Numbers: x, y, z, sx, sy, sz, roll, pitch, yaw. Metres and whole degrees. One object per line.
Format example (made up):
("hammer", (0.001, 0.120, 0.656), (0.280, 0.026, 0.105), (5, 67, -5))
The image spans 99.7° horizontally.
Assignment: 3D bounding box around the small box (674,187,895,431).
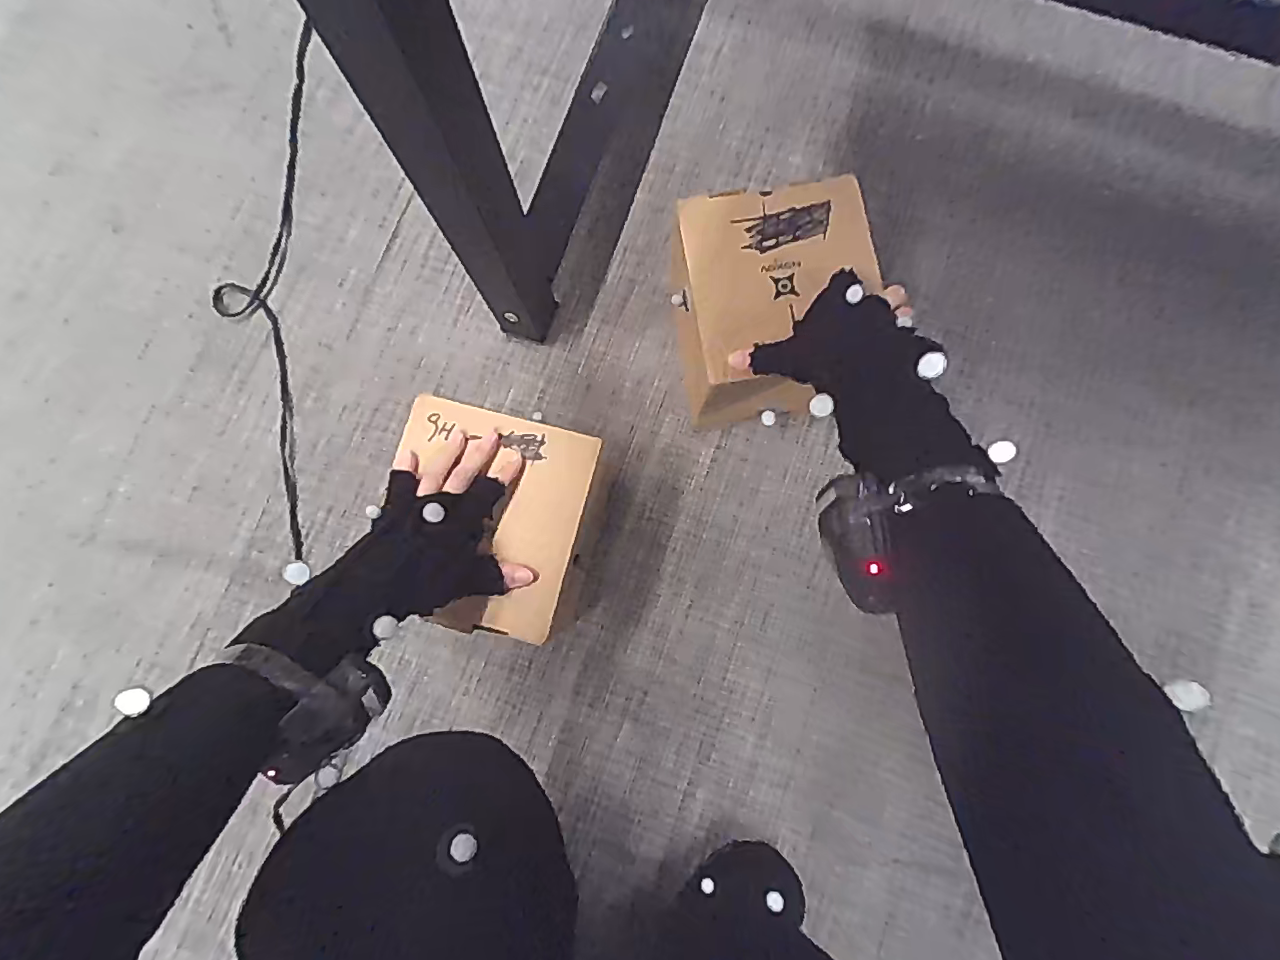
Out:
("small box", (0.129, -0.162, 0.555), (0.168, 0.176, 0.179), (-7, 82, -1))
